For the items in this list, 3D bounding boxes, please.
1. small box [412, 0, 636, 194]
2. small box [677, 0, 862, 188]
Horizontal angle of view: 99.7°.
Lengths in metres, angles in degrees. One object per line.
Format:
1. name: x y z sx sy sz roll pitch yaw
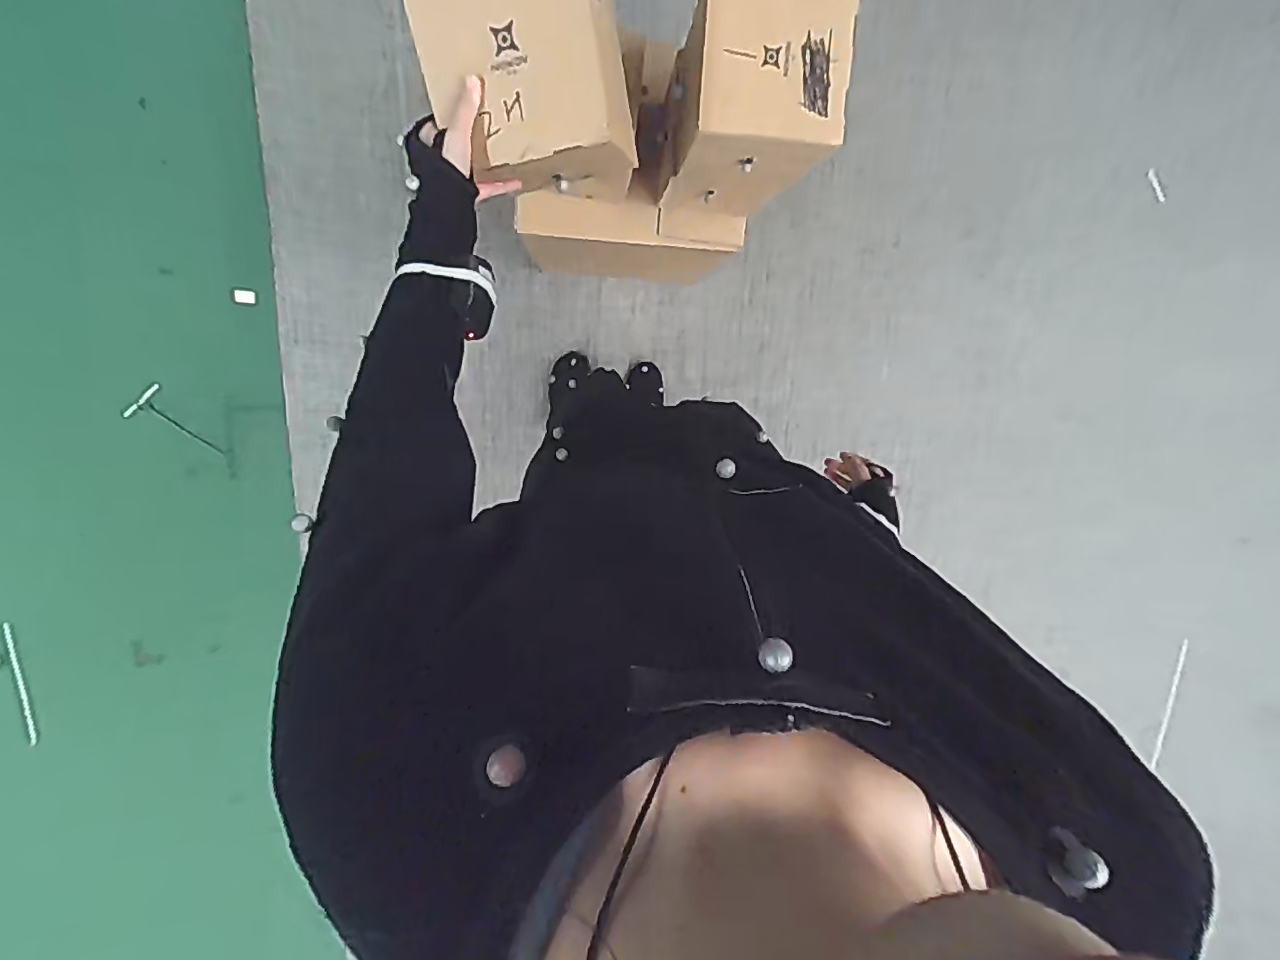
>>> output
1. small box: -0.105 -0.416 0.563 0.168 0.176 0.179 -5 111 11
2. small box: 0.151 -0.490 0.691 0.179 0.176 0.168 3 103 -5
